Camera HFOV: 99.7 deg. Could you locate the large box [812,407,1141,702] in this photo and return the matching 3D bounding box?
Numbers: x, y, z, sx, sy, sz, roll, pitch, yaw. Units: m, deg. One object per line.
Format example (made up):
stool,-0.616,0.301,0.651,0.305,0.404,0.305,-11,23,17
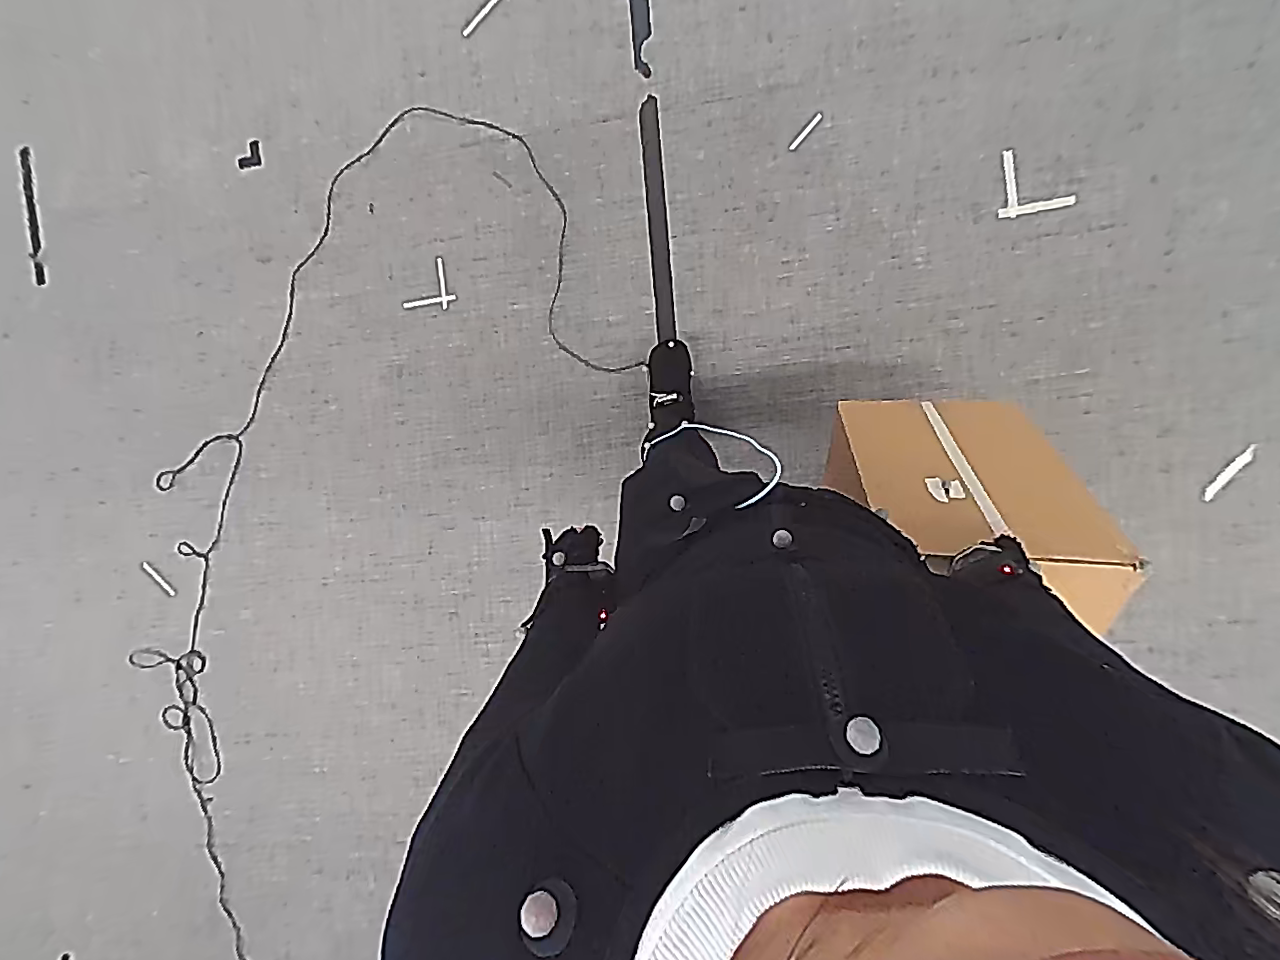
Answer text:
large box,0.503,0.109,0.935,0.320,0.408,0.320,1,128,8
